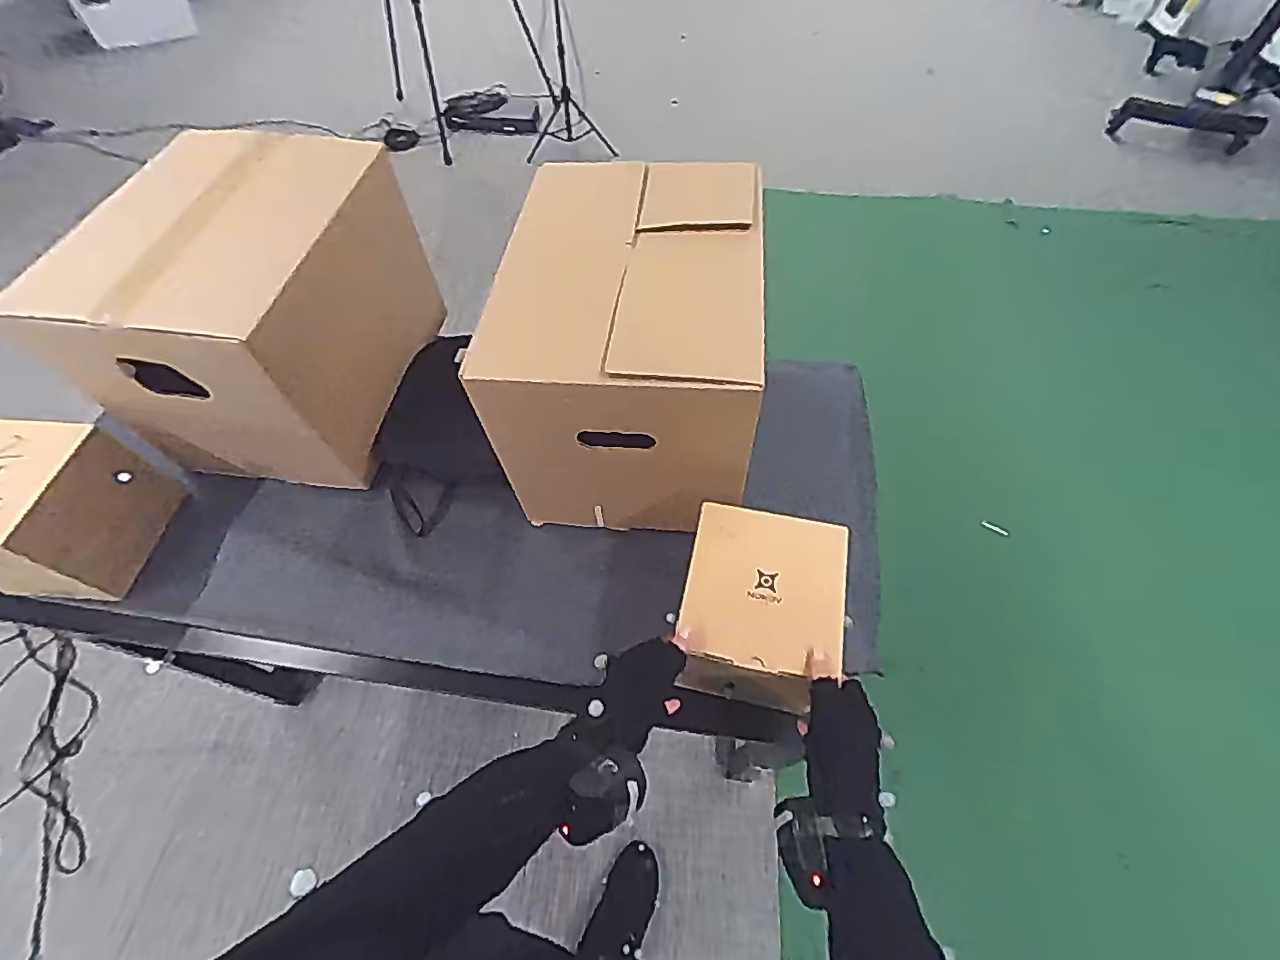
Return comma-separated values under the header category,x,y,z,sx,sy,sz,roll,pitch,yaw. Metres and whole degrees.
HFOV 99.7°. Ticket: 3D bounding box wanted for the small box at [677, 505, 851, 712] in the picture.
category,x,y,z,sx,sy,sz,roll,pitch,yaw
small box,0.139,0.157,0.641,0.168,0.176,0.179,11,61,9
